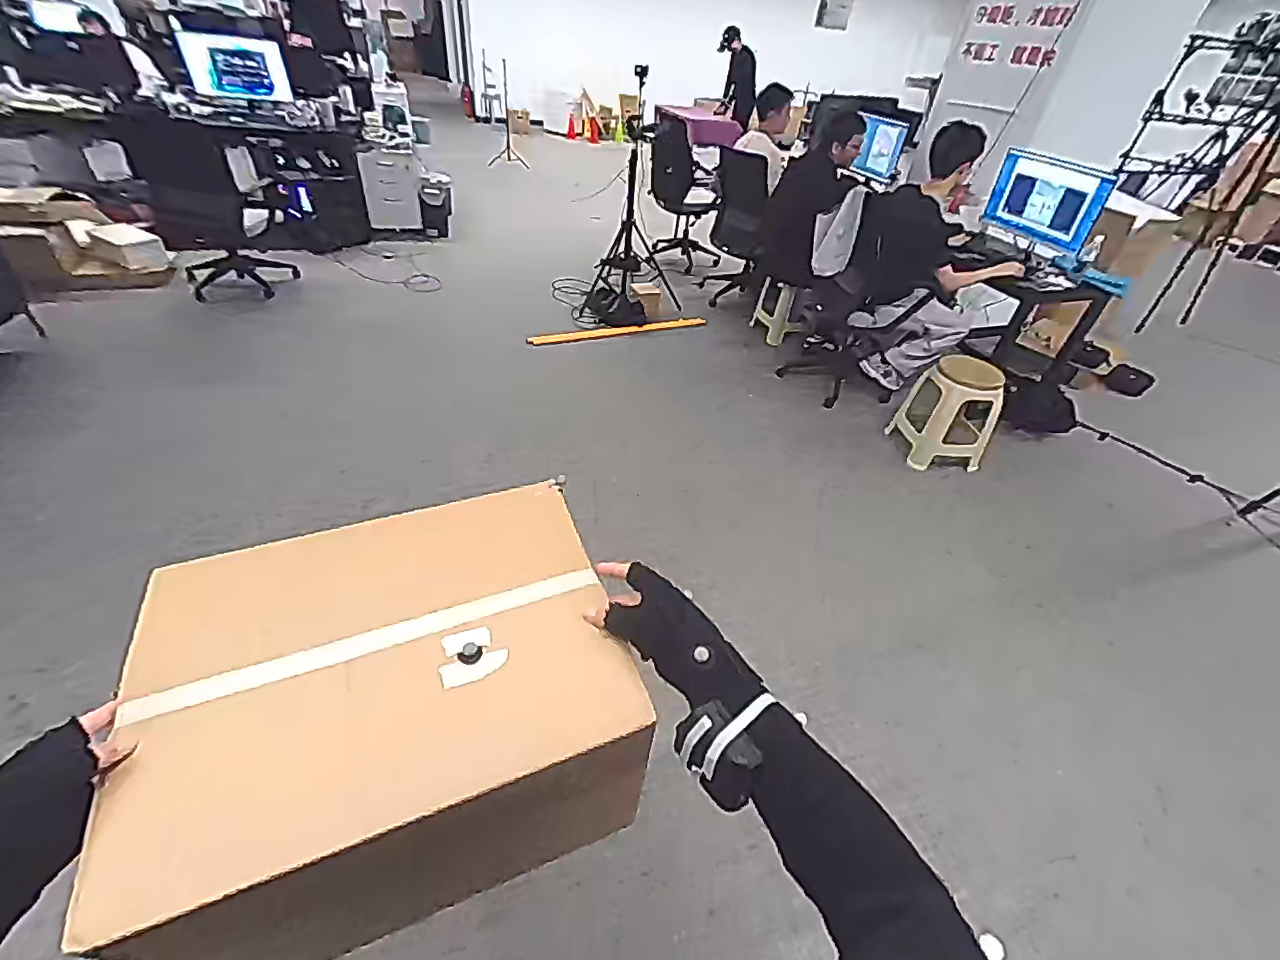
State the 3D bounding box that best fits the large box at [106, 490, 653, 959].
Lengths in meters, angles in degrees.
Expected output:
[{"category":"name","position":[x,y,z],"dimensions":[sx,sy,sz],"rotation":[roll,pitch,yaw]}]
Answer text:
[{"category":"large box","position":[-0.239,0.260,0.613],"dimensions":[0.408,0.320,0.320],"rotation":[-12,46,-20]}]
